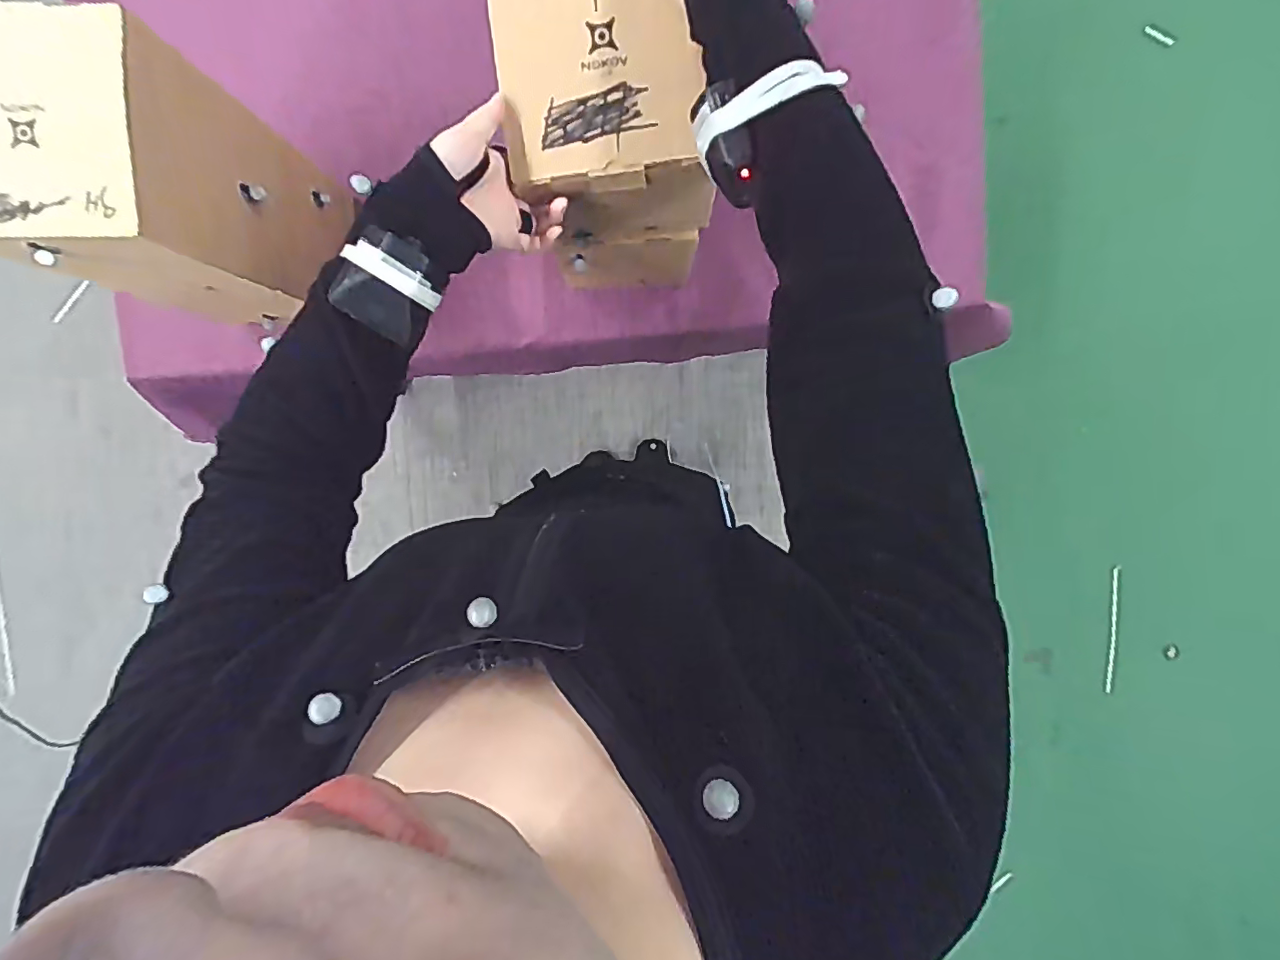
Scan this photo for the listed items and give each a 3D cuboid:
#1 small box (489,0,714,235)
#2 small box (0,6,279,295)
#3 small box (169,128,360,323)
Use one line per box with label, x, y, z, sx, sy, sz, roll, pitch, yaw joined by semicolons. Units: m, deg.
small box;-0.024;-0.336;0.488;0.168;0.176;0.179;-5;97;4
small box;-0.472;-0.286;0.504;0.168;0.176;0.179;0;94;2
small box;-0.470;-0.301;0.669;0.168;0.176;0.179;0;96;1
